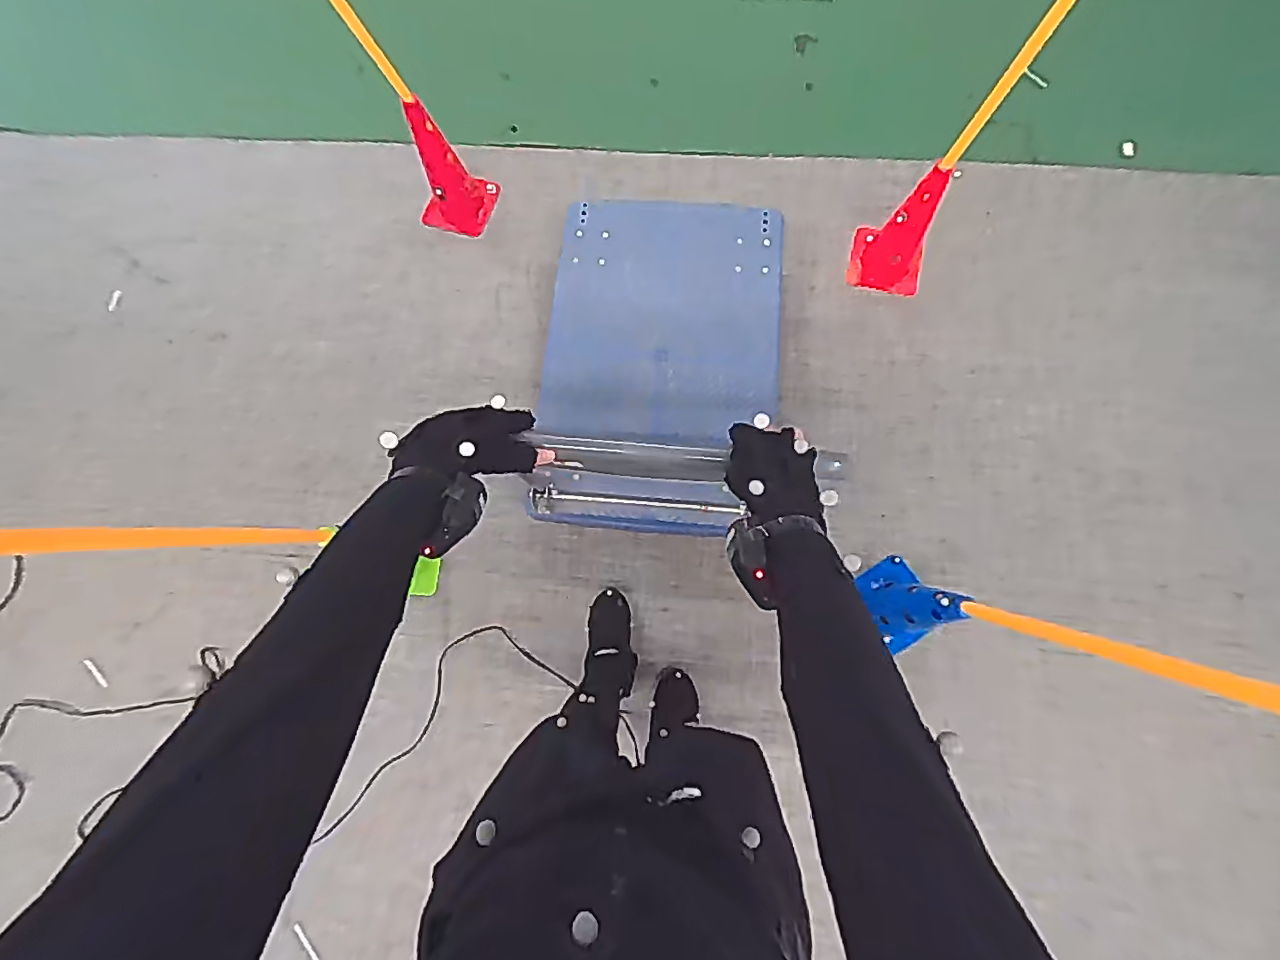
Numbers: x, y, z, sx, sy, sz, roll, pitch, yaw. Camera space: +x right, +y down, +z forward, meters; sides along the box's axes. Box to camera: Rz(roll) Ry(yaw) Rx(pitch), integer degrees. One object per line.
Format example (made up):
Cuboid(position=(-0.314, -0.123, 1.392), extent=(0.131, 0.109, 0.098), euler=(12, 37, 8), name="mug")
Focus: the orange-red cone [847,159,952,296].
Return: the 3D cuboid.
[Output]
Cuboid(position=(0.706, -0.675, 1.406), extent=(0.198, 0.360, 0.199), euler=(15, 78, 7), name="orange-red cone")
